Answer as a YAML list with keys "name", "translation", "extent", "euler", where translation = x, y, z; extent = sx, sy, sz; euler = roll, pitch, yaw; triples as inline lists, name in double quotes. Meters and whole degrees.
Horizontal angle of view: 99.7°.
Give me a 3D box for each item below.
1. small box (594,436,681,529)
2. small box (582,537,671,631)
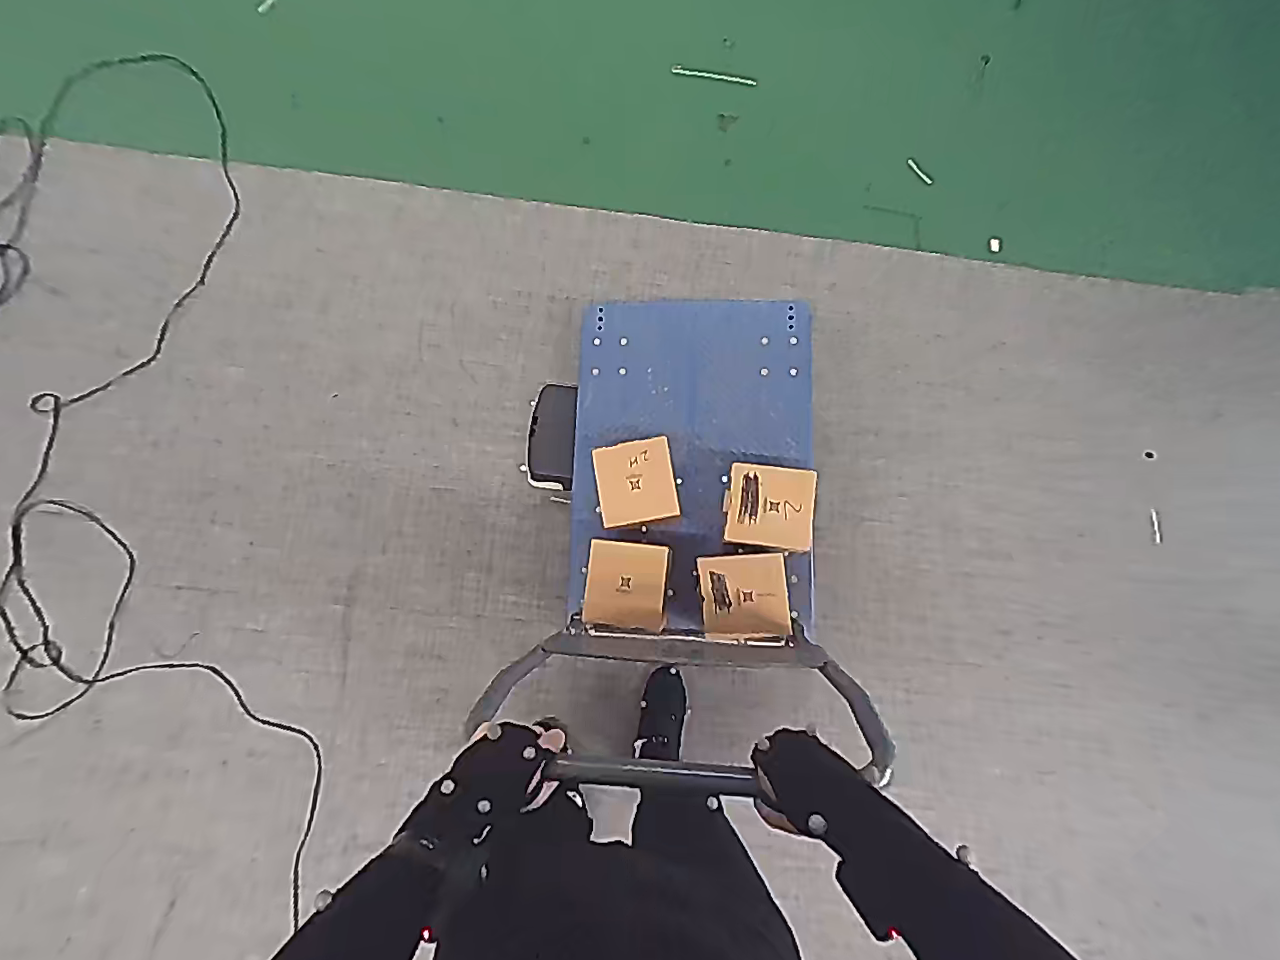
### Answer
- name: "small box"
  translation: [0.000, 0.013, 1.227]
  extent: [0.168, 0.176, 0.179]
  euler: [-10, 80, 4]
- name: "small box"
  translation: [-0.022, 0.225, 1.196]
  extent: [0.168, 0.176, 0.179]
  euler: [6, 82, 7]
